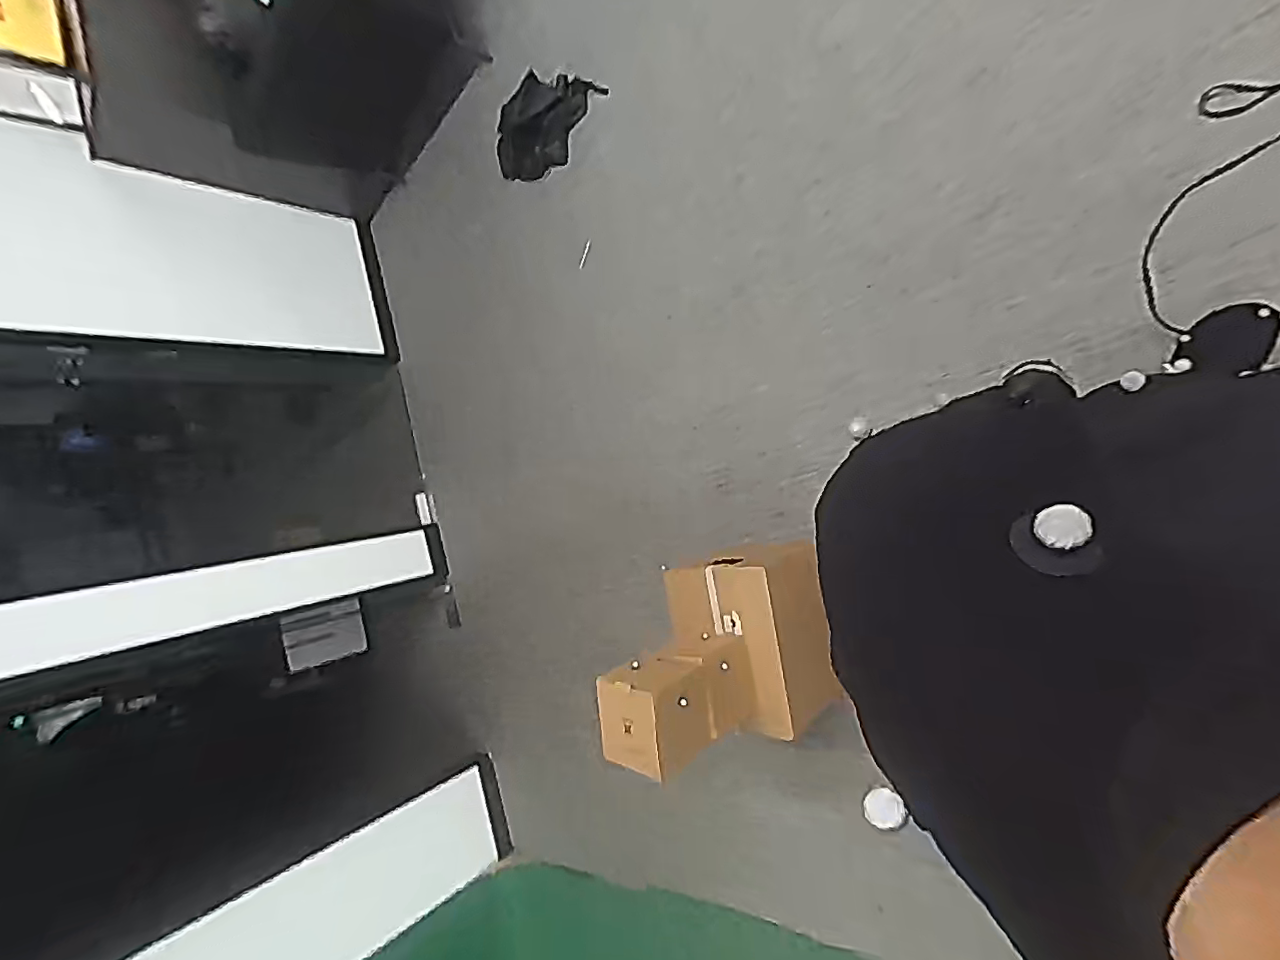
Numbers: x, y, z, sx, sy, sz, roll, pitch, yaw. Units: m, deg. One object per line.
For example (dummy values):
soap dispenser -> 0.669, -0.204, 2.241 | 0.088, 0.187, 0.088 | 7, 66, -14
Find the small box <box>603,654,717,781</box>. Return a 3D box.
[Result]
small box -> 0.044, 0.486, 1.142 | 0.168, 0.176, 0.179 | -4, 93, 44

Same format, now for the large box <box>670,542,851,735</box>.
large box -> 0.321, 0.393, 1.432 | 0.320, 0.320, 0.408 | -11, 87, 42
